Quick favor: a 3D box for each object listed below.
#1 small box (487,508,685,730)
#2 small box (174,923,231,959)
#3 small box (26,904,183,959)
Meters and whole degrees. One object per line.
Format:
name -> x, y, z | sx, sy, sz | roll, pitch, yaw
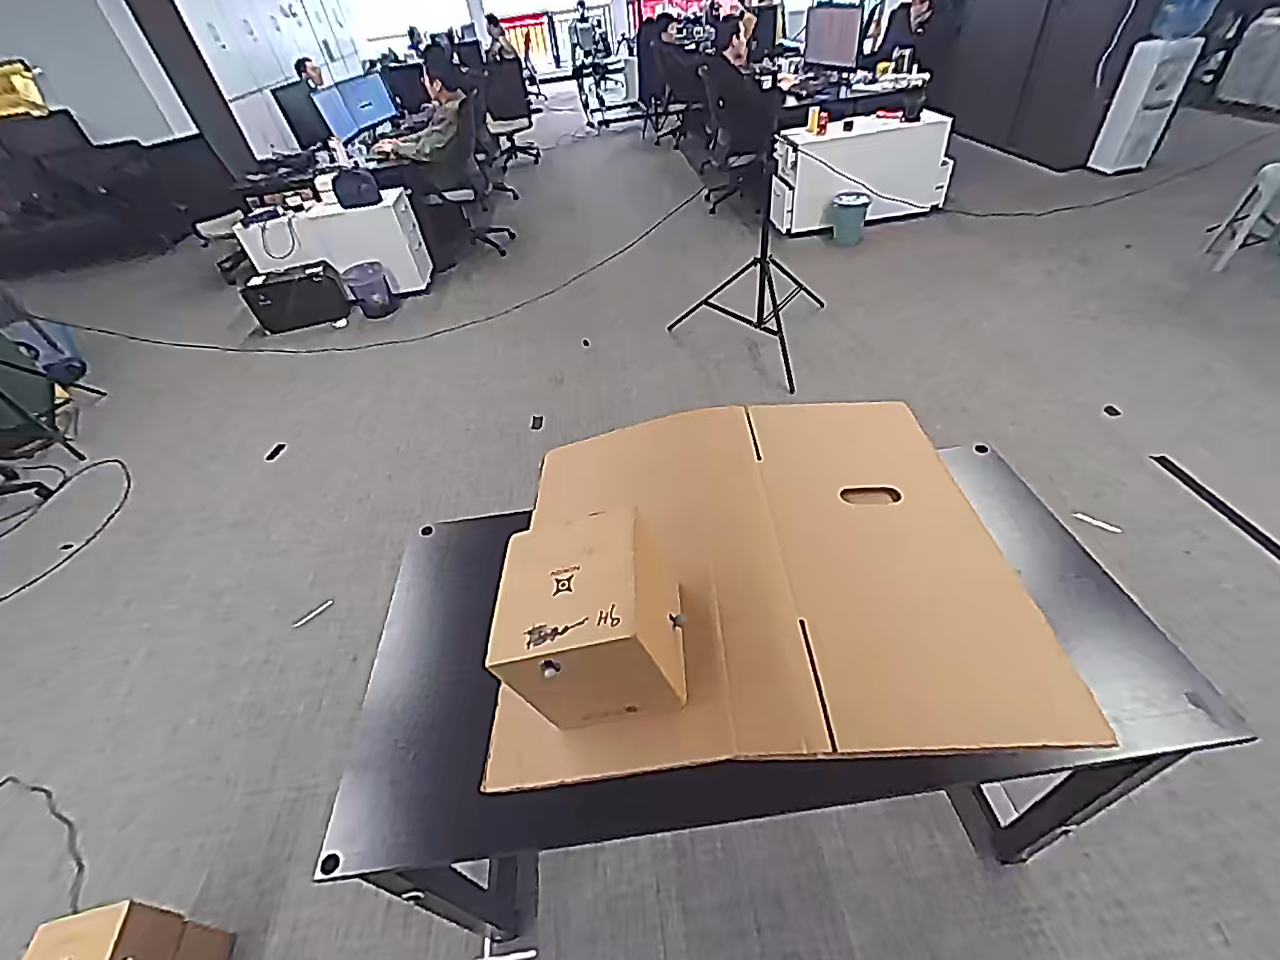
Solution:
small box -> -0.051, 0.165, 0.638 | 0.168, 0.176, 0.179 | -16, 41, 14
small box -> -1.005, 1.064, 1.126 | 0.168, 0.176, 0.179 | -11, 43, -3
small box -> -1.024, 0.942, 1.019 | 0.168, 0.176, 0.179 | -13, 42, -6
